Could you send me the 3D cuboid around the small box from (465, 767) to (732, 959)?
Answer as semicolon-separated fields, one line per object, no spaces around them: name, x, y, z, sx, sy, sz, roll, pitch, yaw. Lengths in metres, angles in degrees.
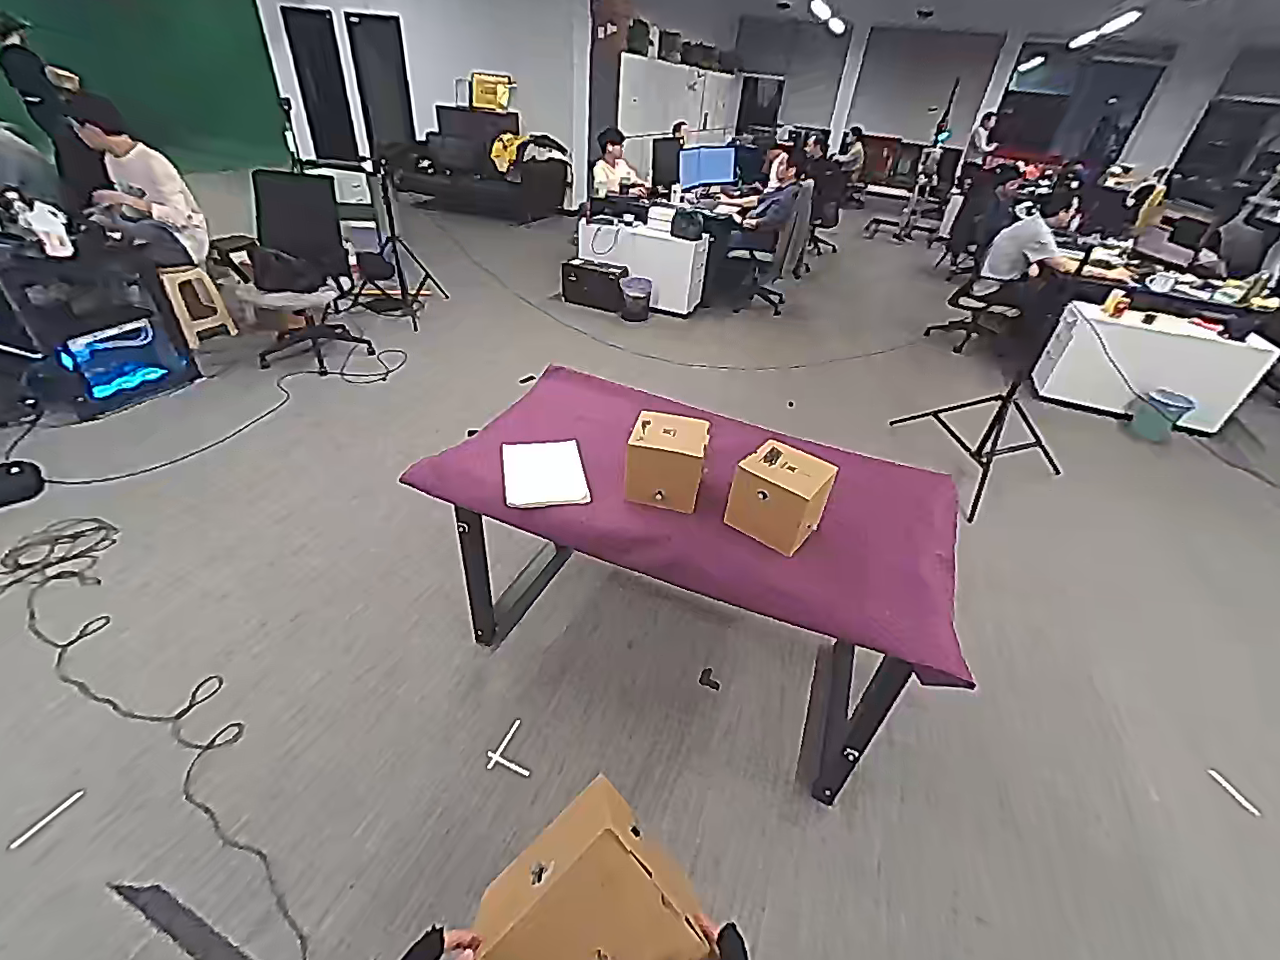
small box;-0.042;0.427;0.540;0.179;0.176;0.168;-41;83;-14

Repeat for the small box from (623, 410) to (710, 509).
small box;0.064;-0.049;1.327;0.179;0.176;0.168;11;35;7

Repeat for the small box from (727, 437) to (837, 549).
small box;0.320;0.030;1.247;0.179;0.176;0.168;28;41;28
